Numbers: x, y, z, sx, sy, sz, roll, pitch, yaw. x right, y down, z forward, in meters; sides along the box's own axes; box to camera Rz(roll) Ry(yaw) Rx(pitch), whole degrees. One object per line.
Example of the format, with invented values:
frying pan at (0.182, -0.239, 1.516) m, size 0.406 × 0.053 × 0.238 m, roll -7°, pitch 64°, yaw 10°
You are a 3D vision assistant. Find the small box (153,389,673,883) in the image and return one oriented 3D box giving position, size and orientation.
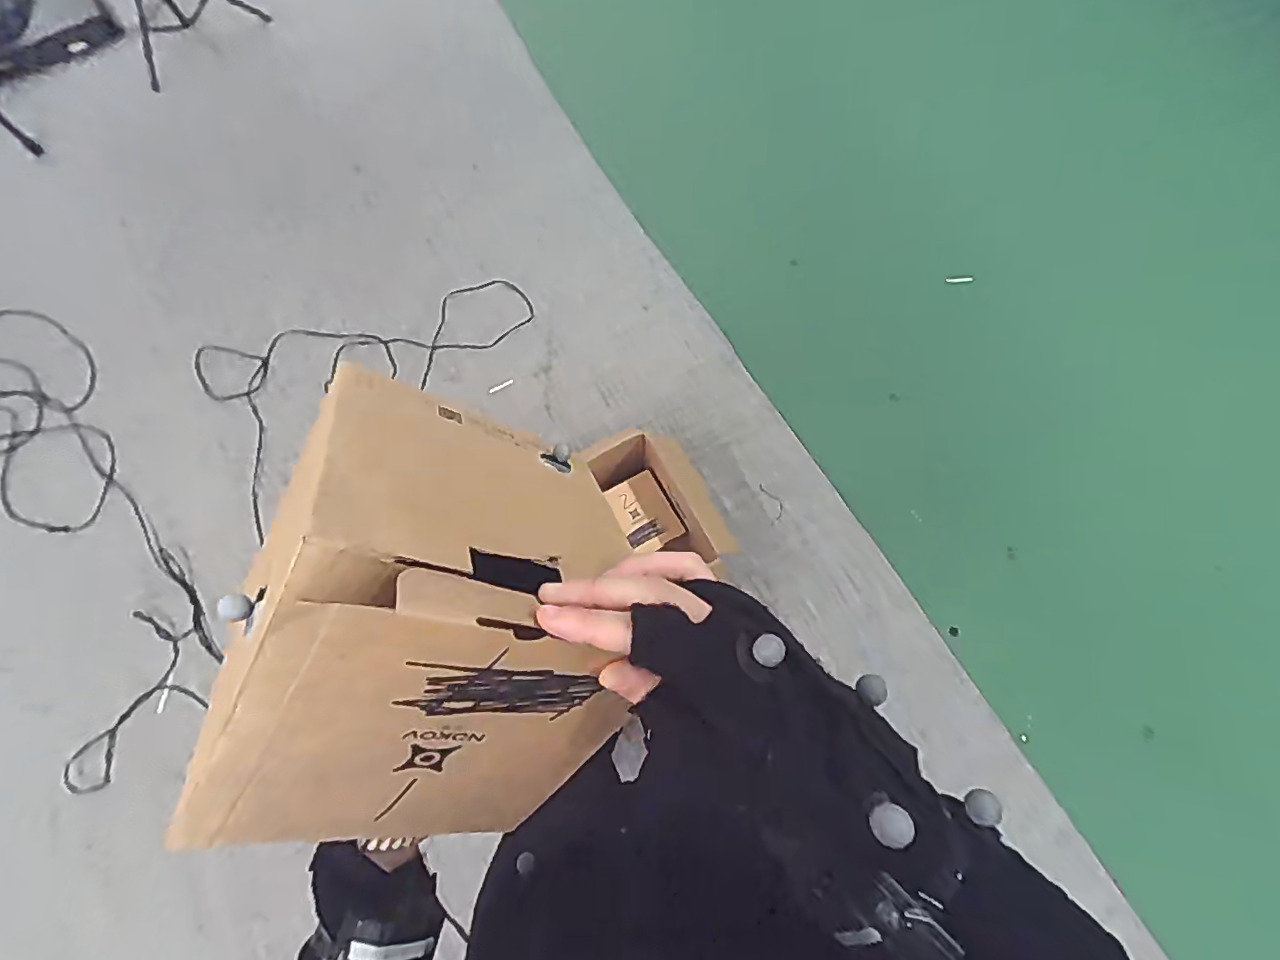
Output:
small box at (-0.118, 0.076, 0.299) m, size 0.168 × 0.176 × 0.179 m, roll 22°, pitch 112°, yaw -33°
